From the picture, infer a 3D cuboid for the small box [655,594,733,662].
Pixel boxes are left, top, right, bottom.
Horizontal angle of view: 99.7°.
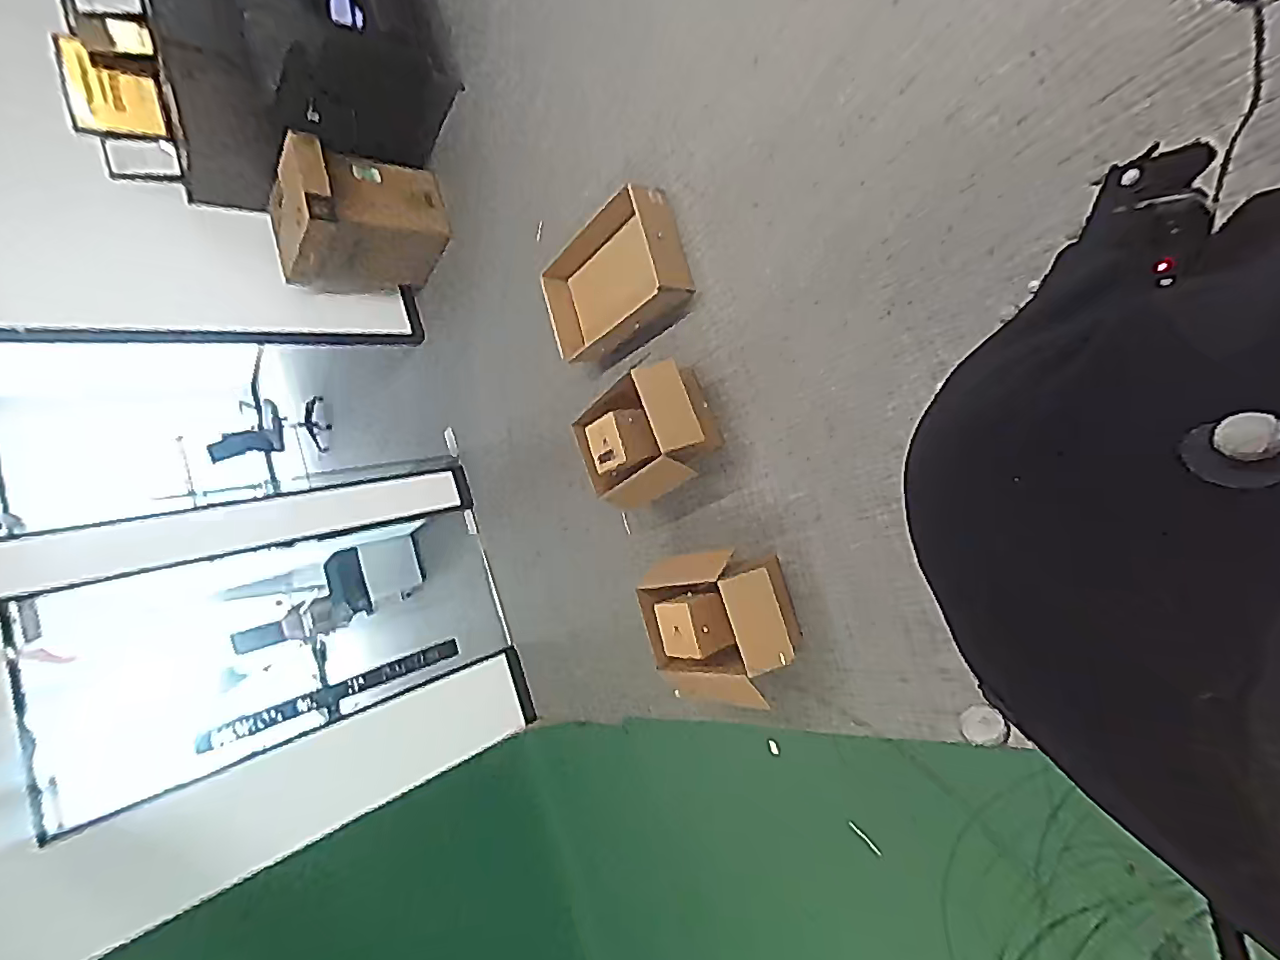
[{"bbox_3d":[0.178,0.478,1.767,0.168,0.176,0.179,-19,84,48],"label":"small box"}]
